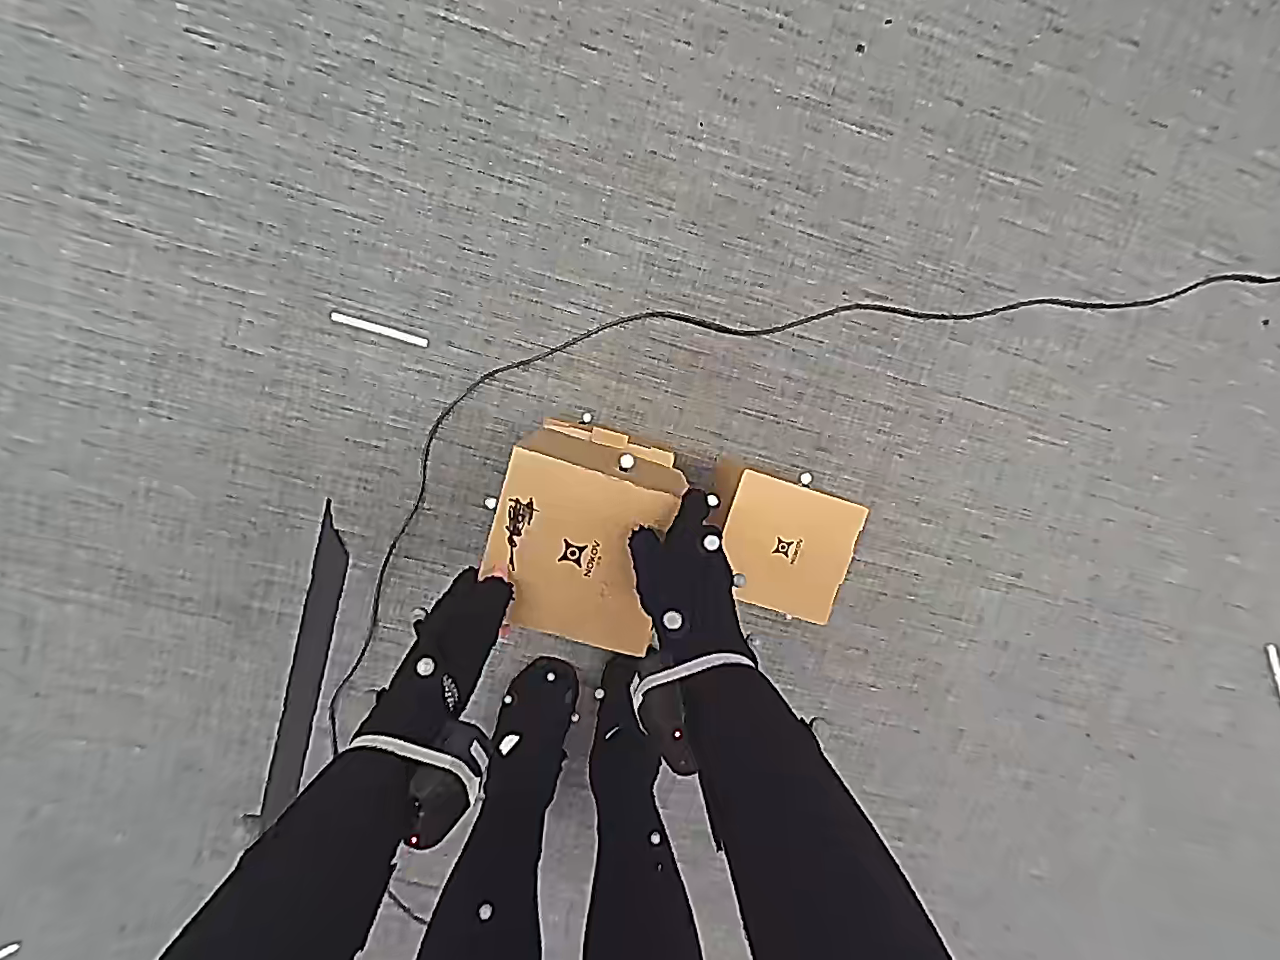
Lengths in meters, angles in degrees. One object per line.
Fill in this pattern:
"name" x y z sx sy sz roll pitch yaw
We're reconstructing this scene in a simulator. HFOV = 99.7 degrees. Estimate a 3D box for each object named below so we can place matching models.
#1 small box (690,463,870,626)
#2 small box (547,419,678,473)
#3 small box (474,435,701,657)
"small box" 0.184 0.079 0.770 0.179 0.176 0.168 17 97 -6
"small box" -0.058 0.019 0.746 0.168 0.176 0.179 16 98 -4
"small box" -0.052 0.057 0.582 0.179 0.176 0.168 18 100 -5
